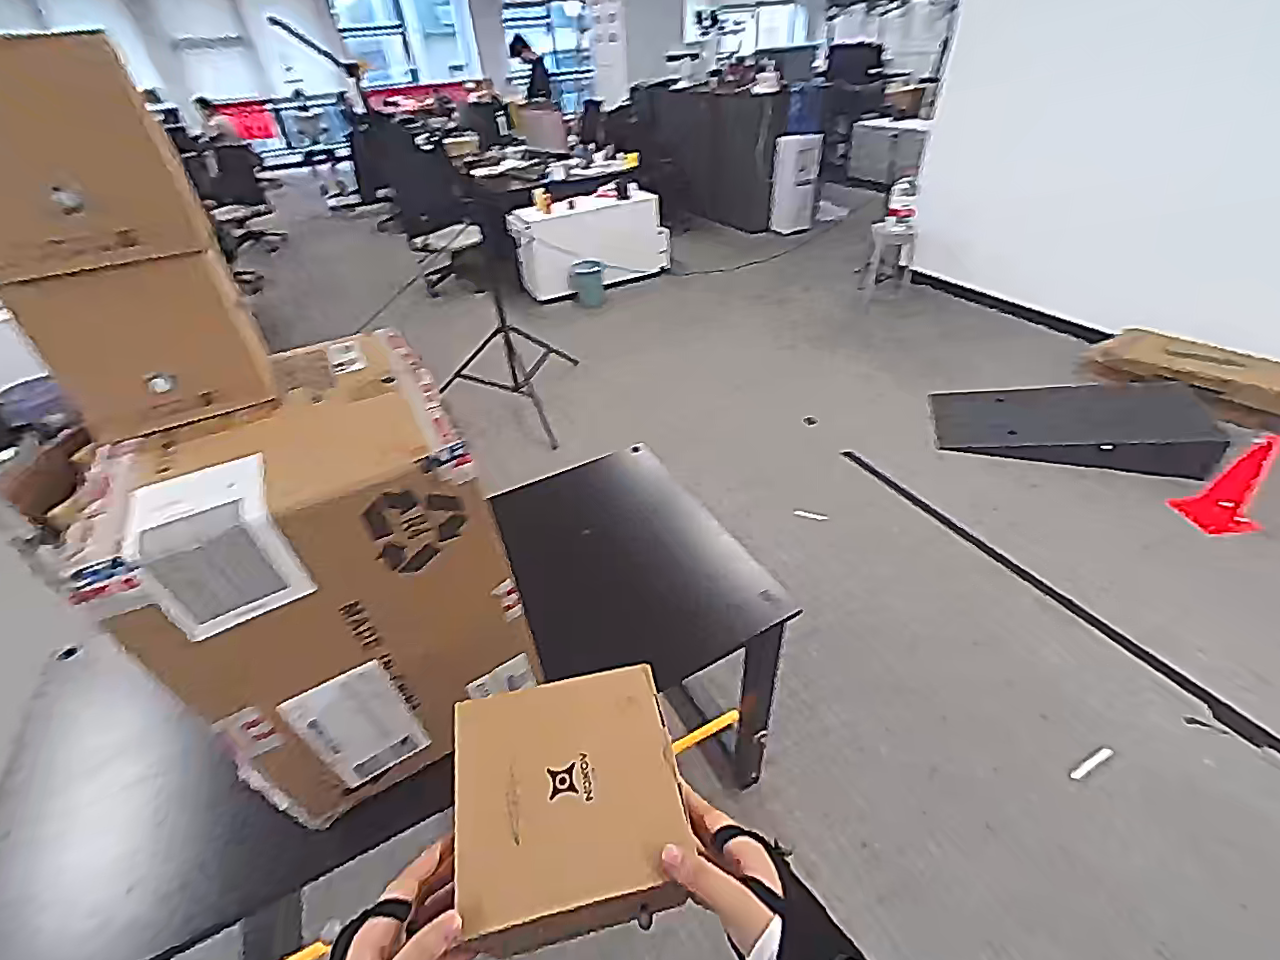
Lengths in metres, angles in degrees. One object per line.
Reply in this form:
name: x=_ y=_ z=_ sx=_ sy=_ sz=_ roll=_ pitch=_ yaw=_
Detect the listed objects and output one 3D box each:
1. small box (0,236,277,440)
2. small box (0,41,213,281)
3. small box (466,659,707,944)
small box: x=-0.544 y=-0.169 z=0.615 sx=0.168 sy=0.176 sz=0.179 roll=-24 pitch=41 yaw=-24
small box: x=-0.543 y=-0.300 z=0.513 sx=0.168 sy=0.176 sz=0.179 roll=-26 pitch=41 yaw=-26
small box: x=-0.052 y=0.292 z=0.494 sx=0.179 sy=0.176 sz=0.168 roll=-10 pitch=46 yaw=-9
